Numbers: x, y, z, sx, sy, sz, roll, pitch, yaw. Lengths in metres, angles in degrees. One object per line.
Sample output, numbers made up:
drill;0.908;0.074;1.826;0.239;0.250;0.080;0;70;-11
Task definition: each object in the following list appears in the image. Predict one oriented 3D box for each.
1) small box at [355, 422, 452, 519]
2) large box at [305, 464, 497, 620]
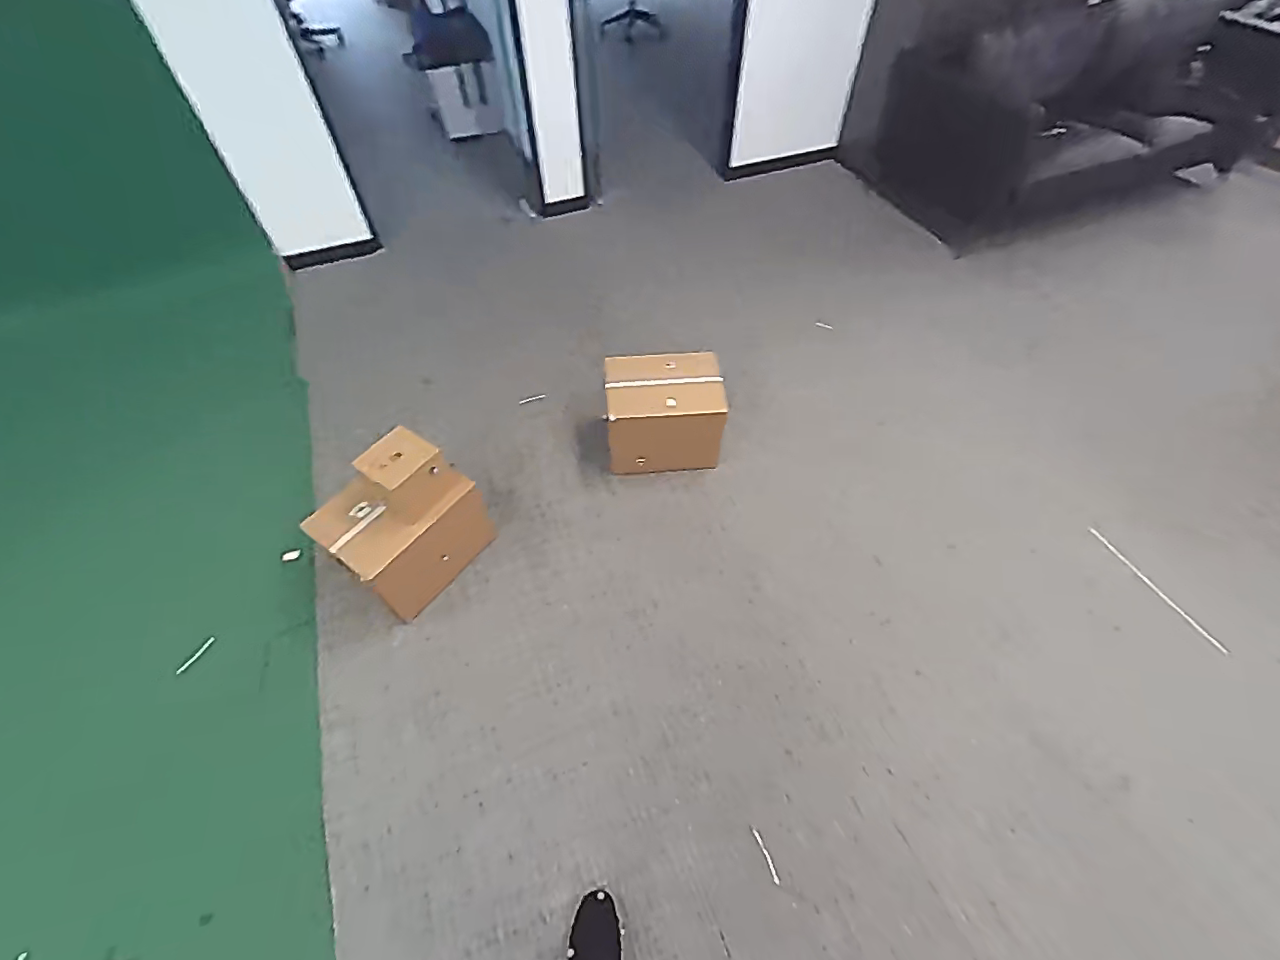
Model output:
small box;-0.658;-0.025;1.535;0.168;0.176;0.179;30;59;19
large box;-0.726;0.156;1.709;0.320;0.320;0.408;29;59;21
